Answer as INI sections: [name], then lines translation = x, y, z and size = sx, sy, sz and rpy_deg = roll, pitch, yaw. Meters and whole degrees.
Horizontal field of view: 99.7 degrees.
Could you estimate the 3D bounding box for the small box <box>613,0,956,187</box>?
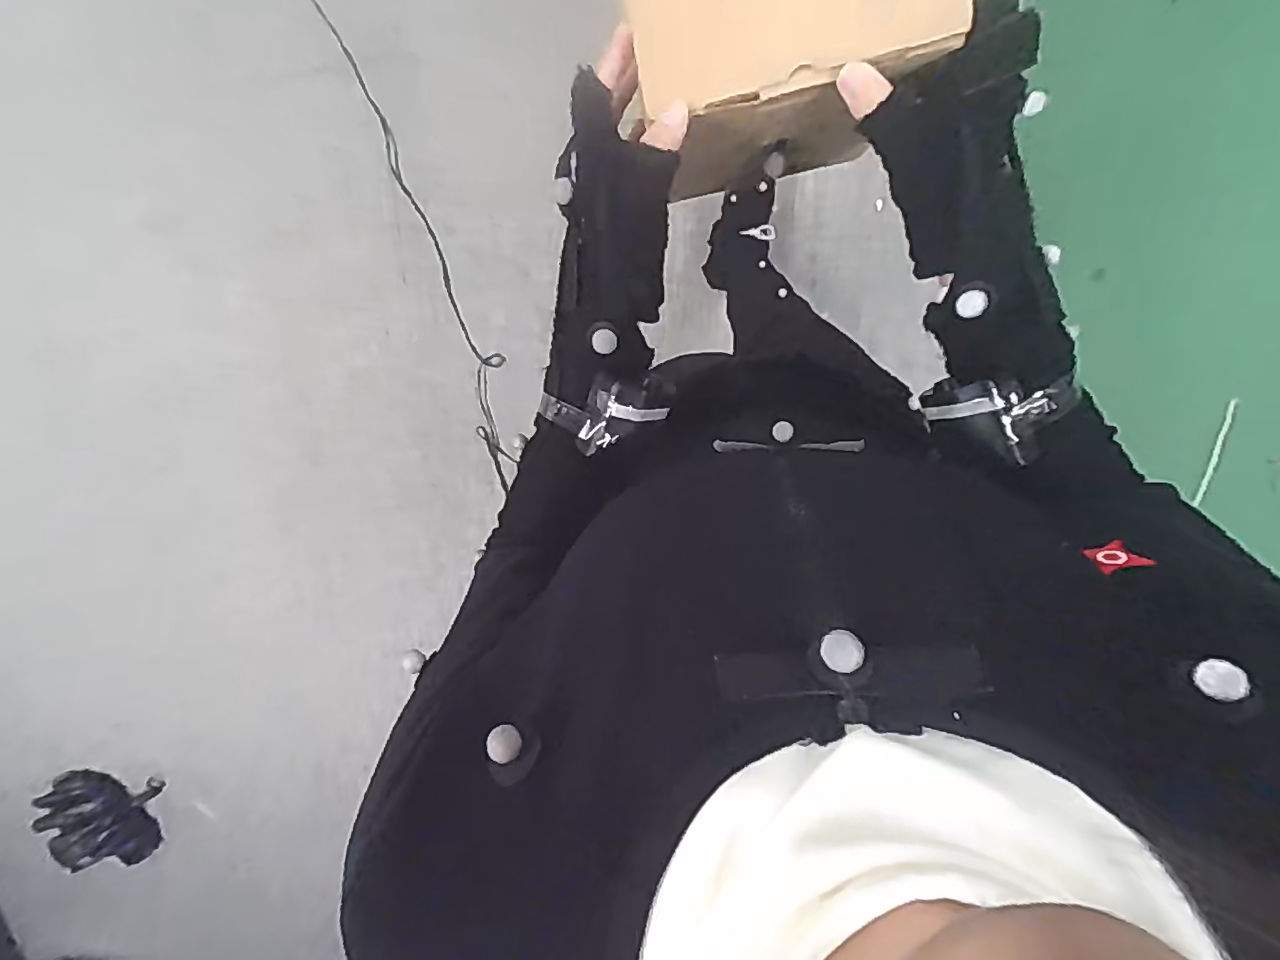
[small box]
translation = 0.067, -0.303, 0.335
size = 0.168, 0.176, 0.179
rpy_deg = -11, 103, 7
